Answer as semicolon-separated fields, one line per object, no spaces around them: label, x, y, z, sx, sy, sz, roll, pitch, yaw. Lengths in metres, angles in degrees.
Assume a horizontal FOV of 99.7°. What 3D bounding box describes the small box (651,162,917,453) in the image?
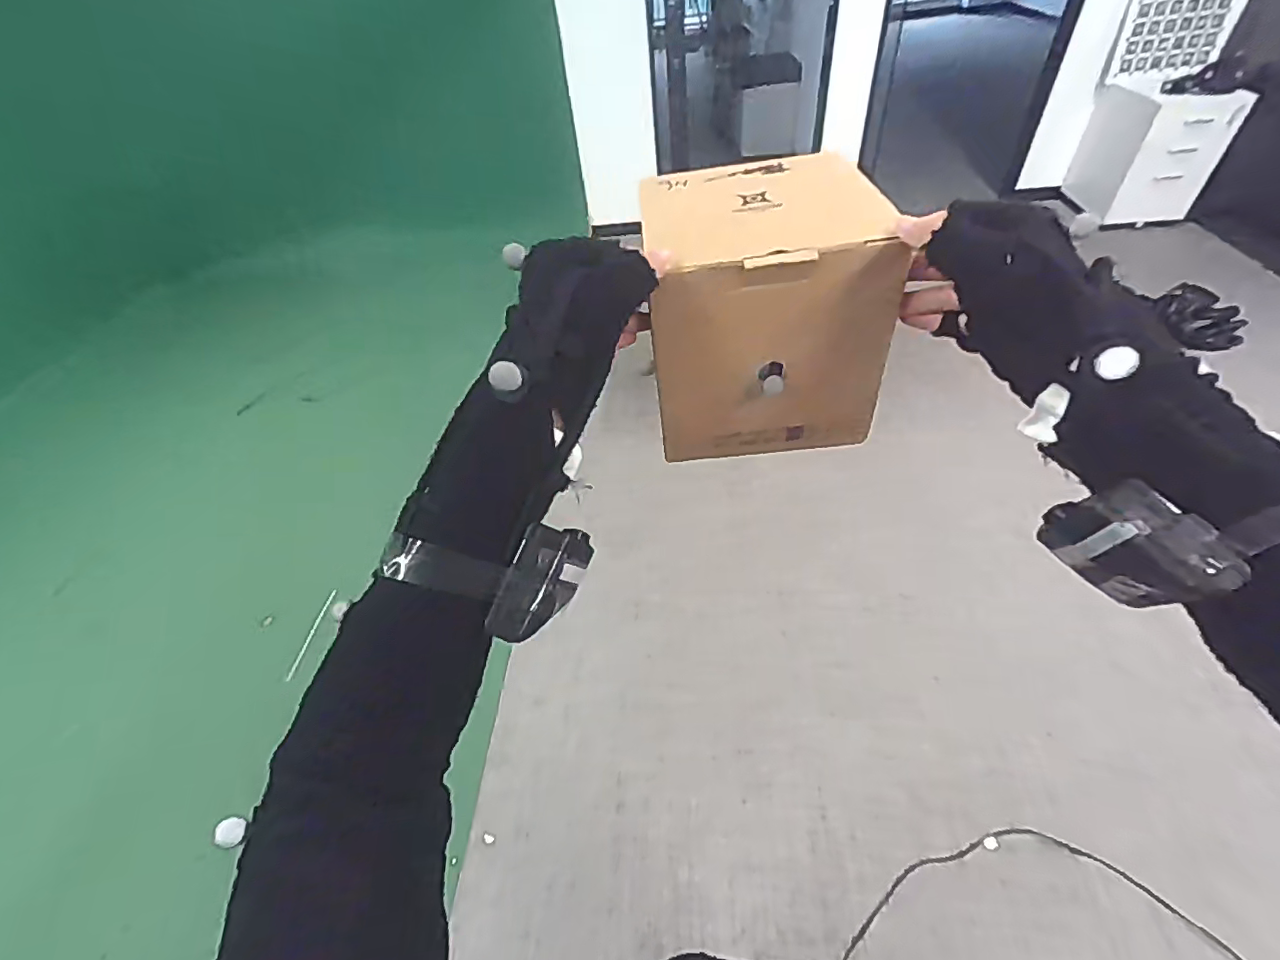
small box;0.099;-0.135;0.448;0.168;0.176;0.179;-5;46;4
